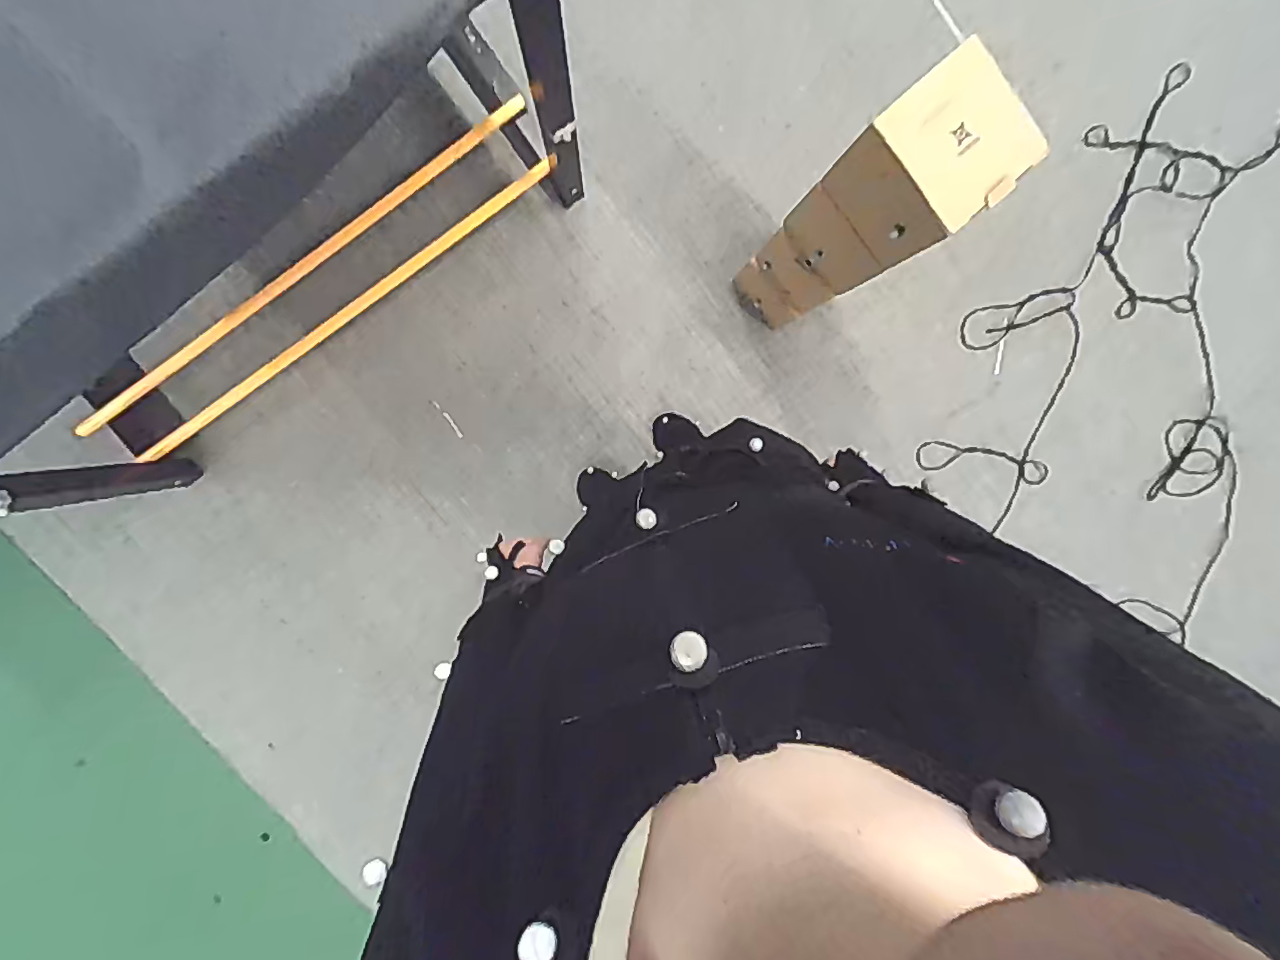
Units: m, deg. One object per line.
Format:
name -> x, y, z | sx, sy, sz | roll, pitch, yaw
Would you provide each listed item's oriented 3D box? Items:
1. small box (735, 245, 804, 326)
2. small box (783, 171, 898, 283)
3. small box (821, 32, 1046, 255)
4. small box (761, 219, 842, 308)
small box -> 0.342, -0.480, 1.236 | 0.179, 0.176, 0.168 | -43, 96, 2
small box -> 0.376, -0.457, 0.910 | 0.168, 0.176, 0.179 | -41, 98, 1
small box -> 0.390, -0.440, 0.749 | 0.168, 0.176, 0.179 | -41, 96, 0
small box -> 0.362, -0.471, 1.073 | 0.179, 0.176, 0.168 | -42, 97, 0
